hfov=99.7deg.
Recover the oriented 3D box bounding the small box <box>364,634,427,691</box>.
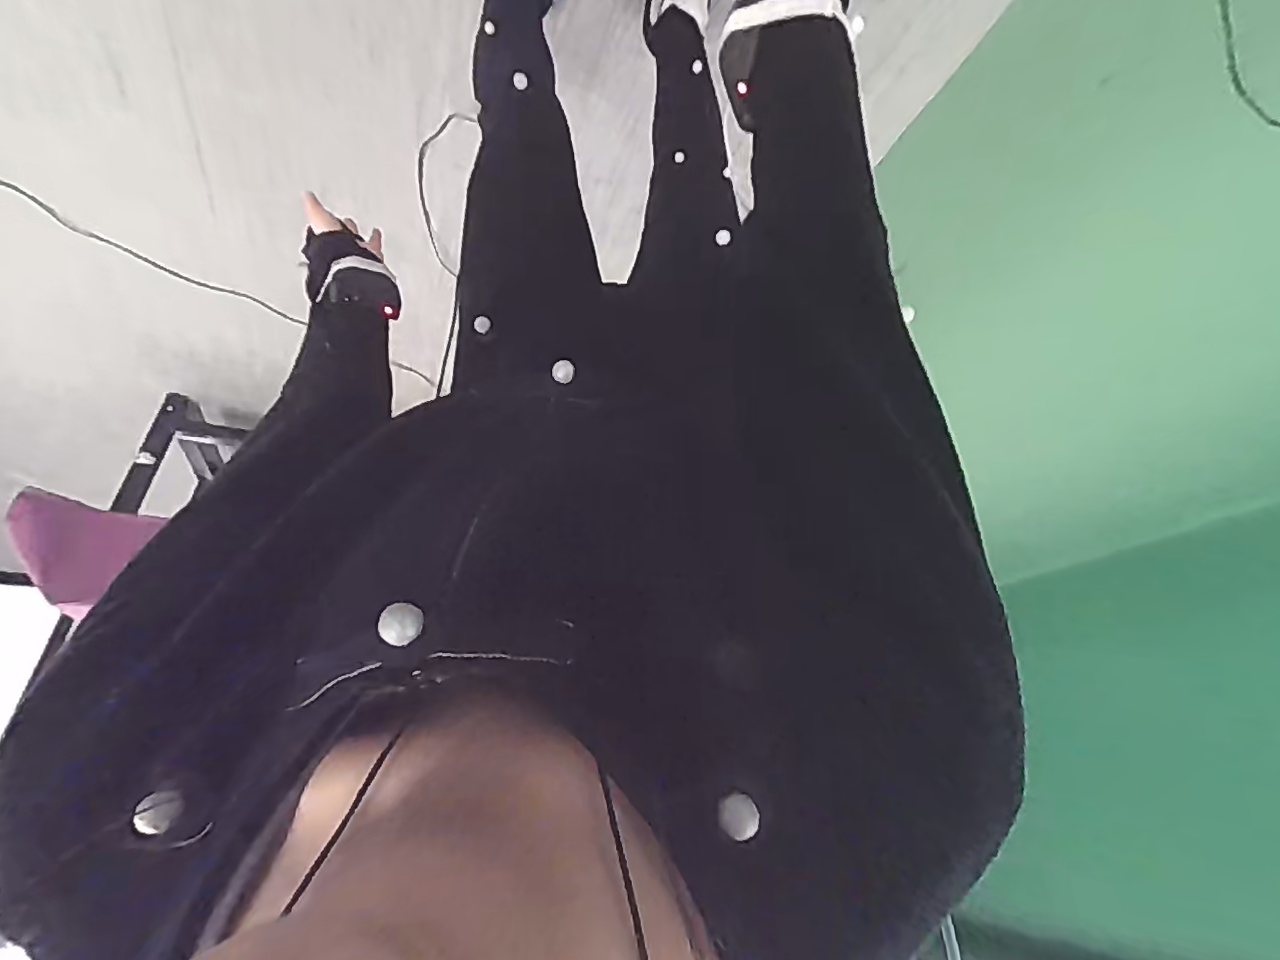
[{"bbox_3d":[-0.890,0.666,1.973,0.179,0.176,0.168,10,150,-20],"label":"small box"}]
